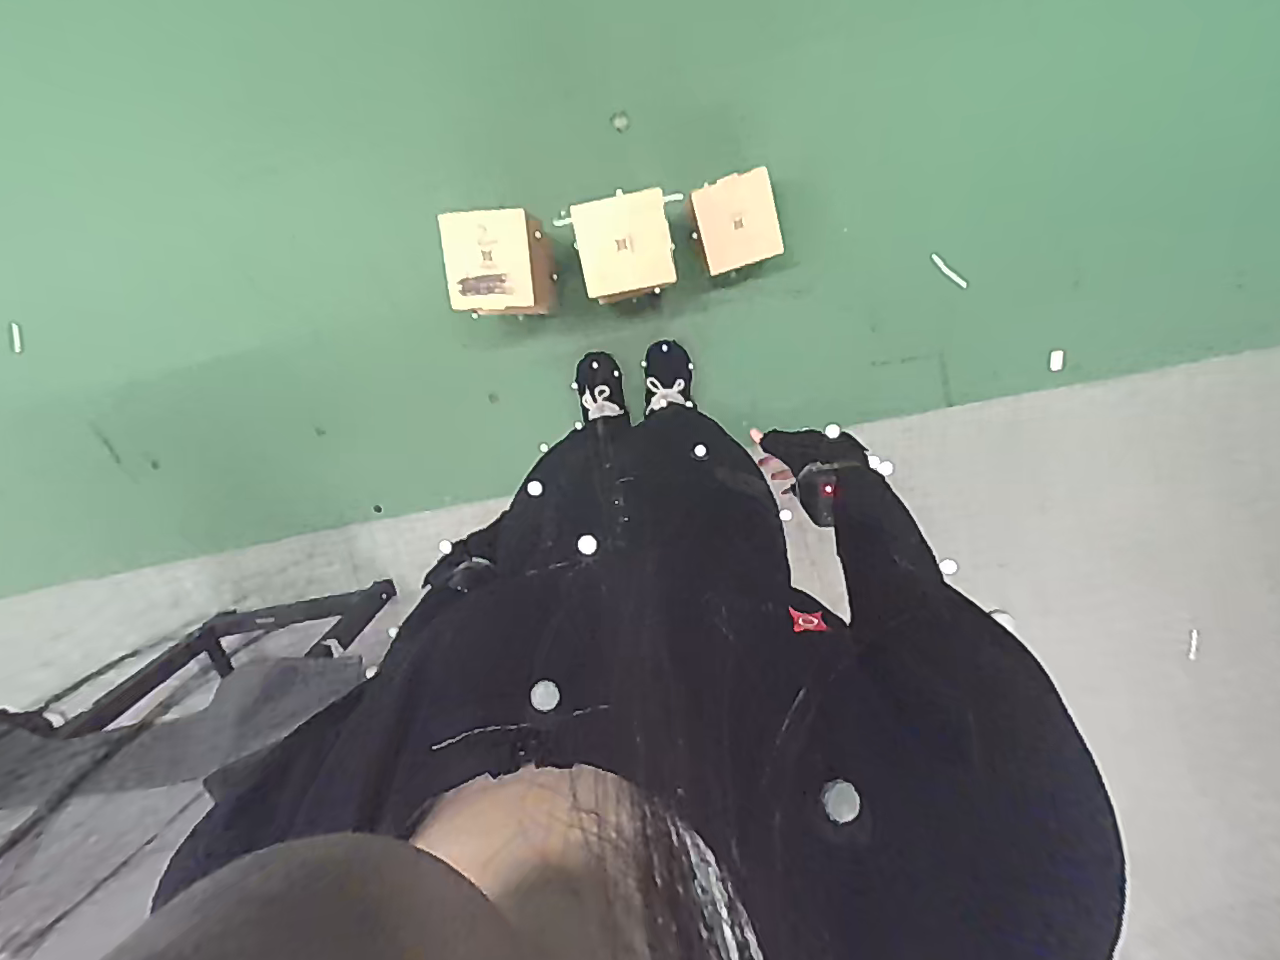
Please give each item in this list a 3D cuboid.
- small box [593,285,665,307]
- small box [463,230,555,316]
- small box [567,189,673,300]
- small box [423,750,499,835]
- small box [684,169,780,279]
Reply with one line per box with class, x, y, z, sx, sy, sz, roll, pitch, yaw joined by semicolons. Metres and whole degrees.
small box;-0.039;-0.505;1.238;0.168;0.176;0.179;-13;107;5
small box;-0.295;-0.472;1.251;0.168;0.176;0.179;-1;109;1
small box;-0.034;-0.460;1.081;0.179;0.176;0.168;-11;108;3
small box;-0.561;0.992;1.728;0.179;0.176;0.168;-7;108;2
small box;0.200;-0.566;1.218;0.168;0.176;0.179;-16;108;5
